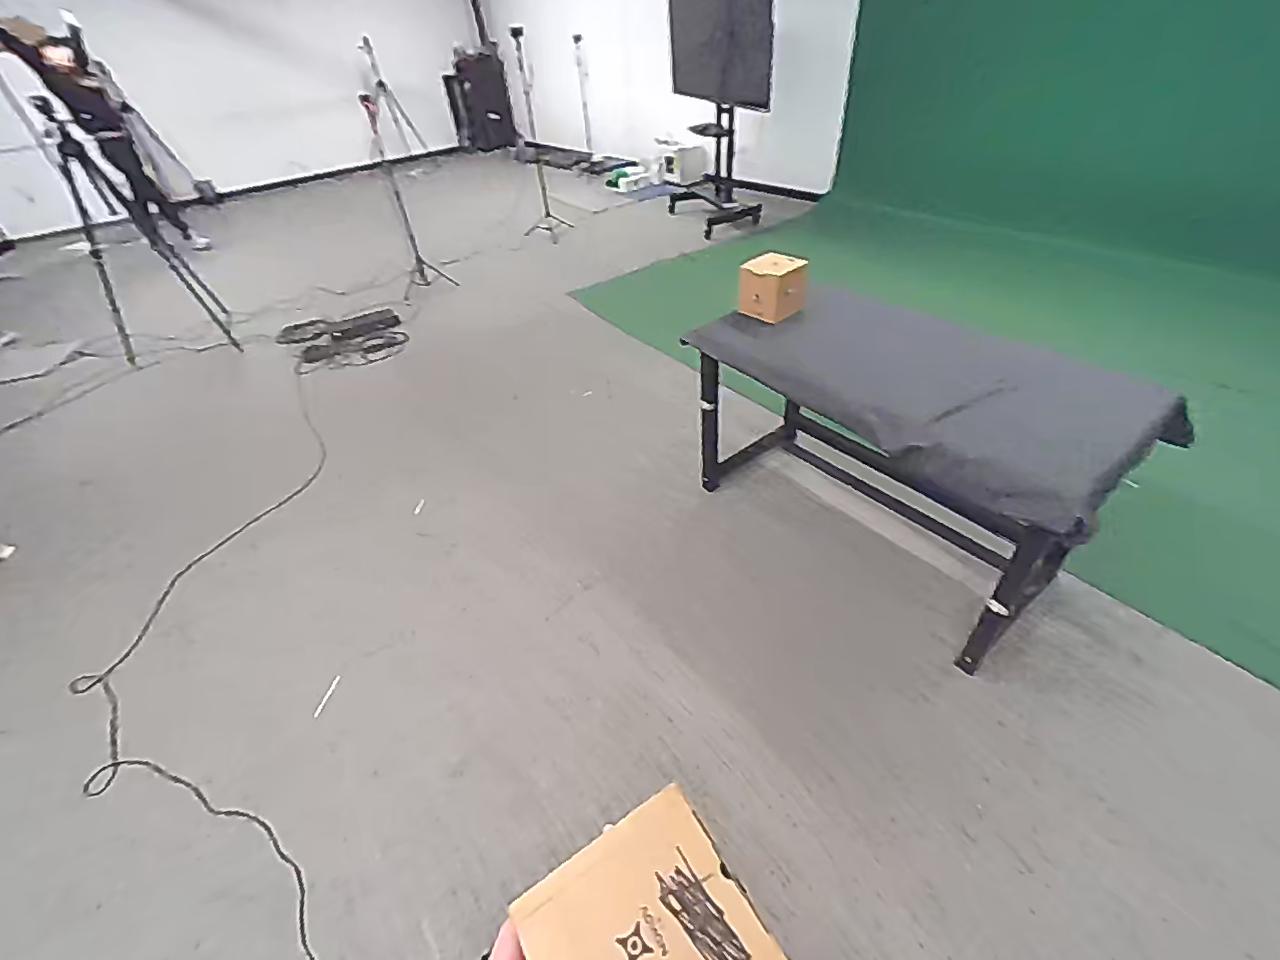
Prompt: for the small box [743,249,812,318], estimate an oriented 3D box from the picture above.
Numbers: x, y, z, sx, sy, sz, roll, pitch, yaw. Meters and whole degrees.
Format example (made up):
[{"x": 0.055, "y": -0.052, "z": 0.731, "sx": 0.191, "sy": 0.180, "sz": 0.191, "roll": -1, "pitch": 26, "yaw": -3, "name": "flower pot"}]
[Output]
[{"x": 0.482, "y": -0.692, "z": 1.904, "sx": 0.179, "sy": 0.176, "sz": 0.168, "roll": -33, "pitch": 48, "yaw": -27, "name": "small box"}]
